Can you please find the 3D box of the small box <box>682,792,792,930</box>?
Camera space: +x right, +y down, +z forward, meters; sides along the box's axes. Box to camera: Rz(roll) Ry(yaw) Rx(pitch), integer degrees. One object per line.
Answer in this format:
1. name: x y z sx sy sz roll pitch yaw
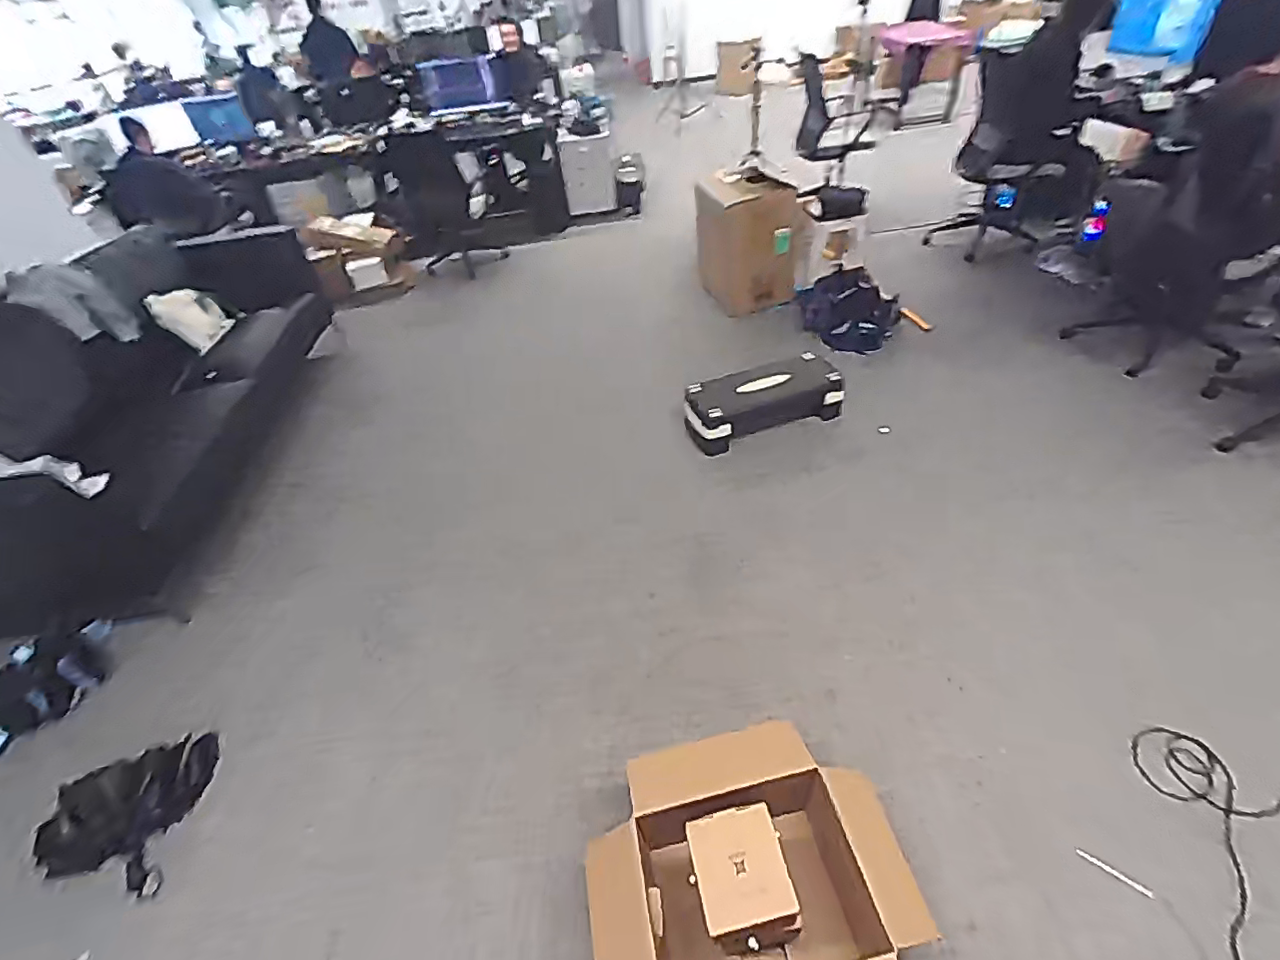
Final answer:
1. small box: 0.184 0.747 1.059 0.168 0.176 0.179 -14 46 -2
